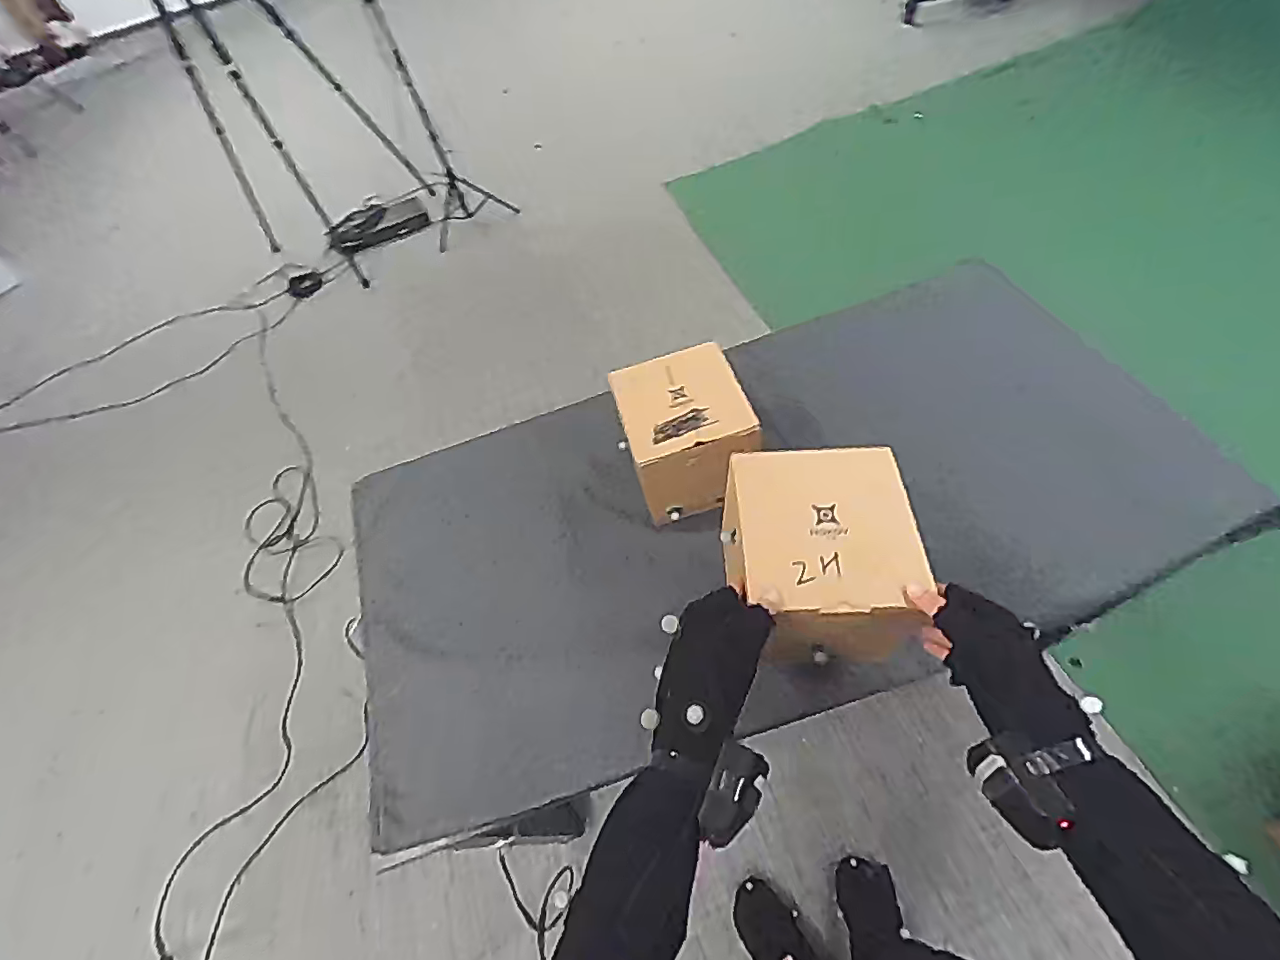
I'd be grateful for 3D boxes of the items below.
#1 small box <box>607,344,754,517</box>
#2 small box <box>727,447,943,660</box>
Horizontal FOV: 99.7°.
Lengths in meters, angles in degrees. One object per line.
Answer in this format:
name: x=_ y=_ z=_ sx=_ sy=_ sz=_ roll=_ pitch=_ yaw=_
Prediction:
small box: x=0.062 y=-0.063 z=0.799 sx=0.168 sy=0.176 sz=0.179 roll=-17 pitch=55 yaw=-1
small box: x=0.186 y=0.083 z=0.582 sx=0.168 sy=0.176 sz=0.179 roll=-2 pitch=58 yaw=3
